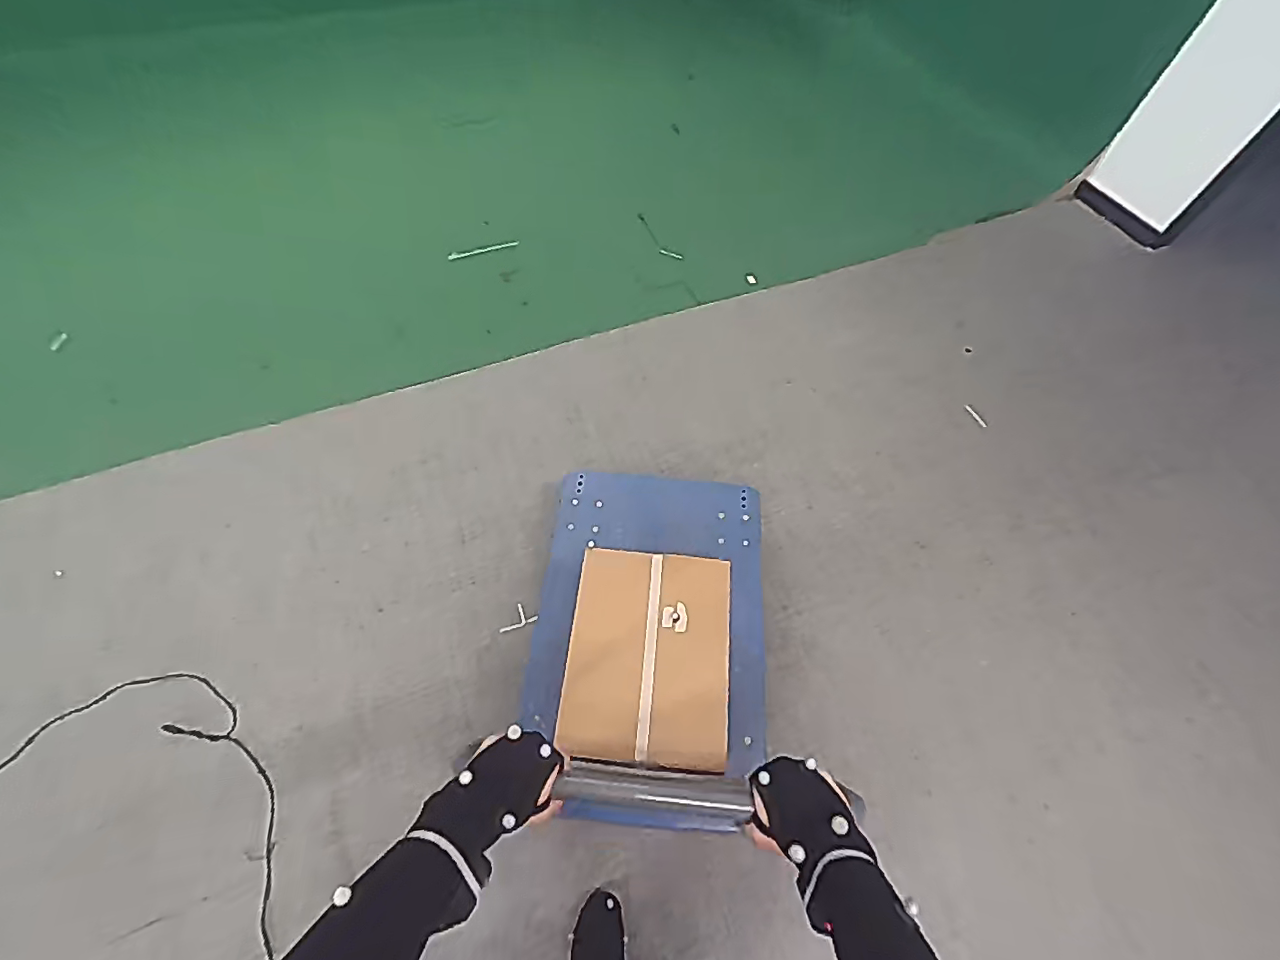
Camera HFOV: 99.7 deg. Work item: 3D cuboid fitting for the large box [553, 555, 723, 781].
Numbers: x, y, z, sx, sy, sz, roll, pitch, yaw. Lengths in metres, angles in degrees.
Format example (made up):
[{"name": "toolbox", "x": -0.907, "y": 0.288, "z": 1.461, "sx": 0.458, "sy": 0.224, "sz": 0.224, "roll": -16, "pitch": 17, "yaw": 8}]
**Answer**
[{"name": "large box", "x": 0.007, "y": 0.423, "z": 1.201, "sx": 0.320, "sy": 0.320, "sz": 0.408, "roll": 6, "pitch": 58, "yaw": 1}]
